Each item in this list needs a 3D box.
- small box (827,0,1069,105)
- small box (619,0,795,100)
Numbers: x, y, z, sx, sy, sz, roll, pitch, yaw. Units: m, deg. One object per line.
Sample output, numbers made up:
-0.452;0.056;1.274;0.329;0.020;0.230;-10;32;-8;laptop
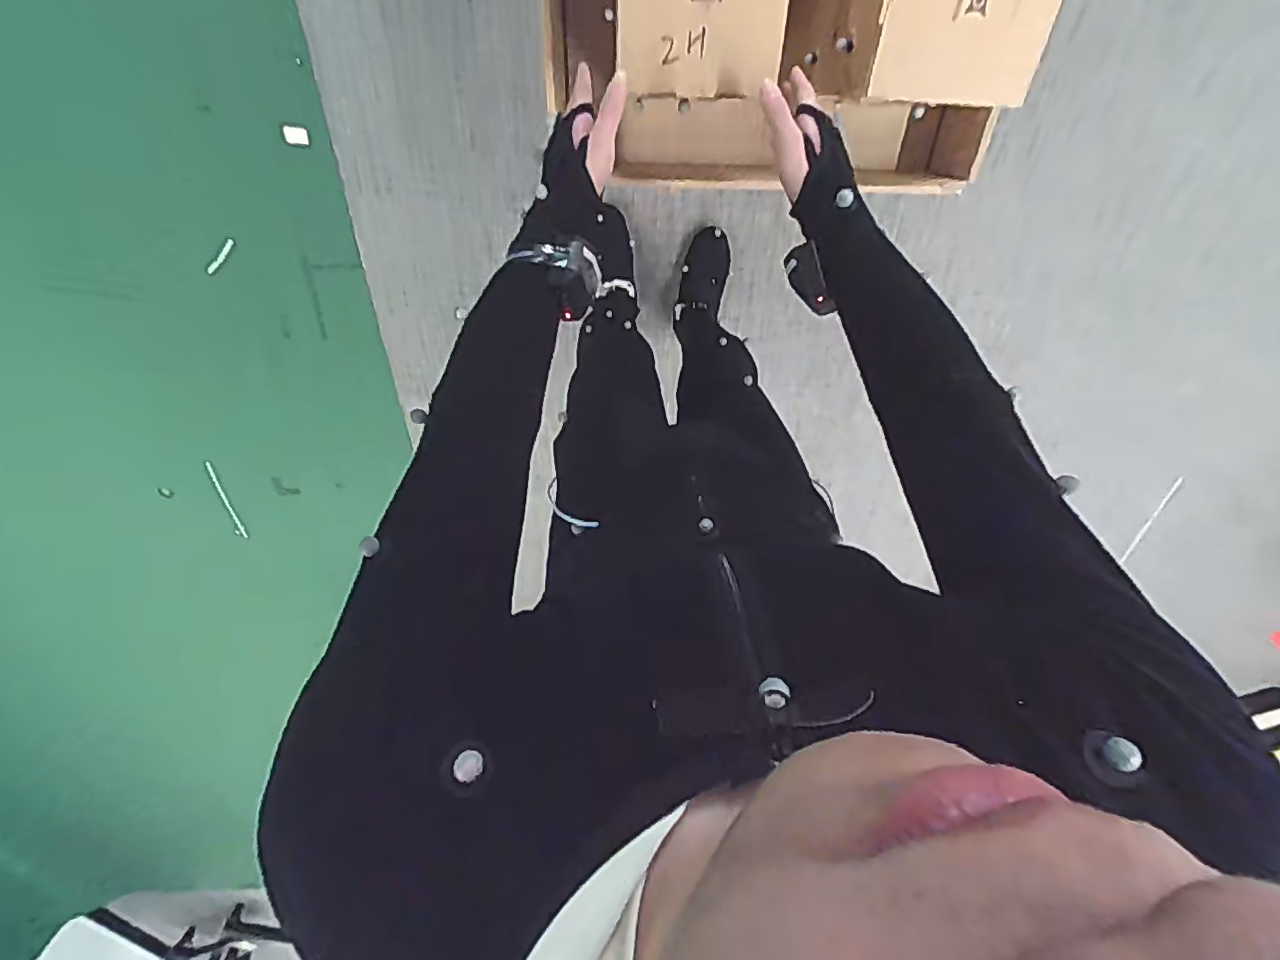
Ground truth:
0.325;-0.510;0.582;0.179;0.176;0.168;1;127;-4;small box
0.063;-0.510;0.567;0.168;0.176;0.179;0;125;-2;small box
